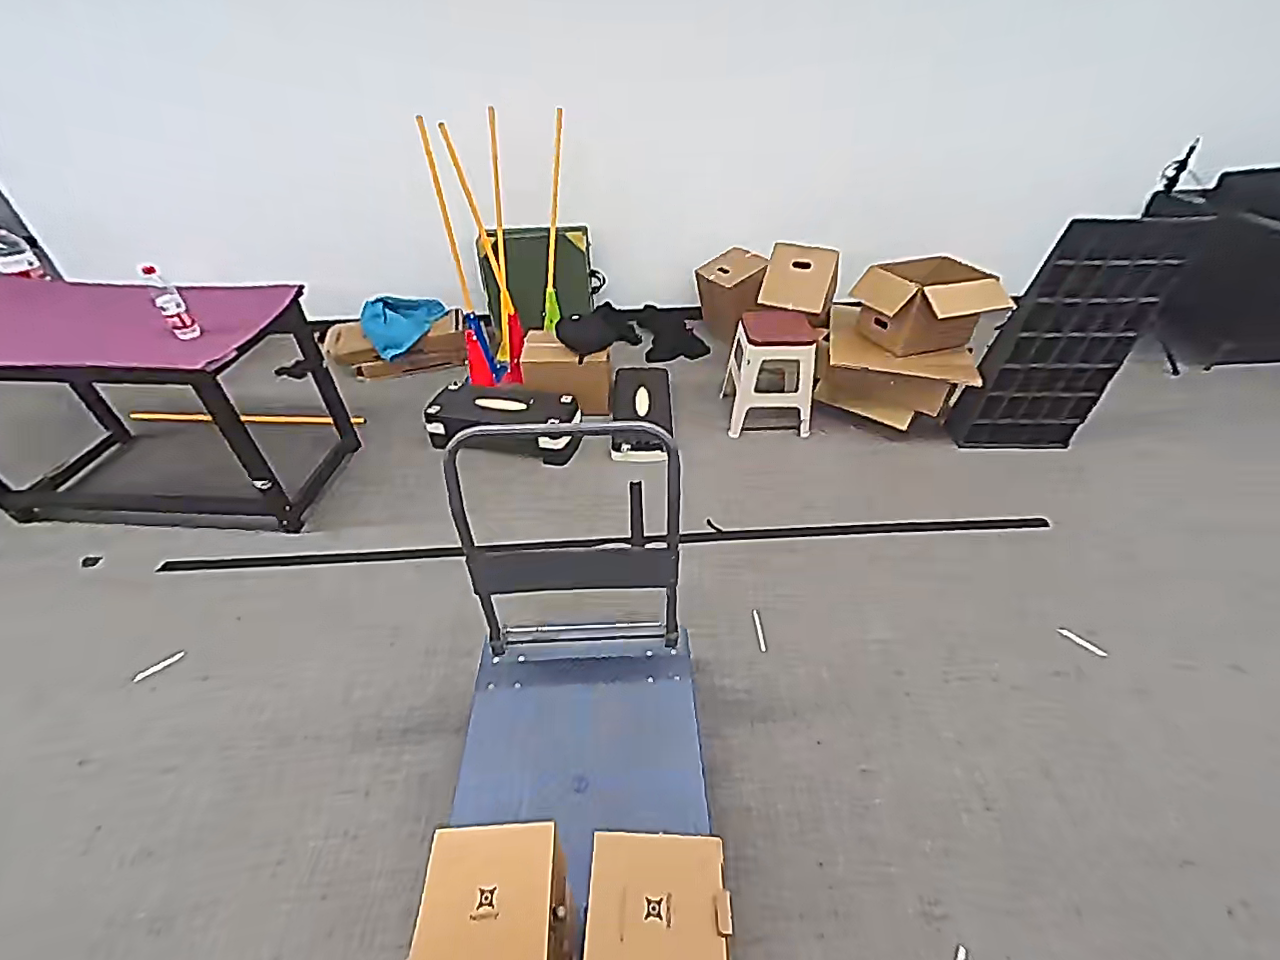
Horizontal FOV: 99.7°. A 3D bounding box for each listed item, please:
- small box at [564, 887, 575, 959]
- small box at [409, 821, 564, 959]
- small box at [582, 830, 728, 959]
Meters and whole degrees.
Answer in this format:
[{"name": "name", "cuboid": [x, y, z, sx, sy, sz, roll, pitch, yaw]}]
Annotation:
[{"name": "small box", "cuboid": [-0.203, 0.844, 0.947, 0.168, 0.176, 0.179, -2, 40, -3]}, {"name": "small box", "cuboid": [-0.195, 0.594, 0.735, 0.168, 0.176, 0.179, -2, 41, -2]}, {"name": "small box", "cuboid": [0.021, 0.598, 0.730, 0.179, 0.176, 0.168, 1, 40, 3]}]
